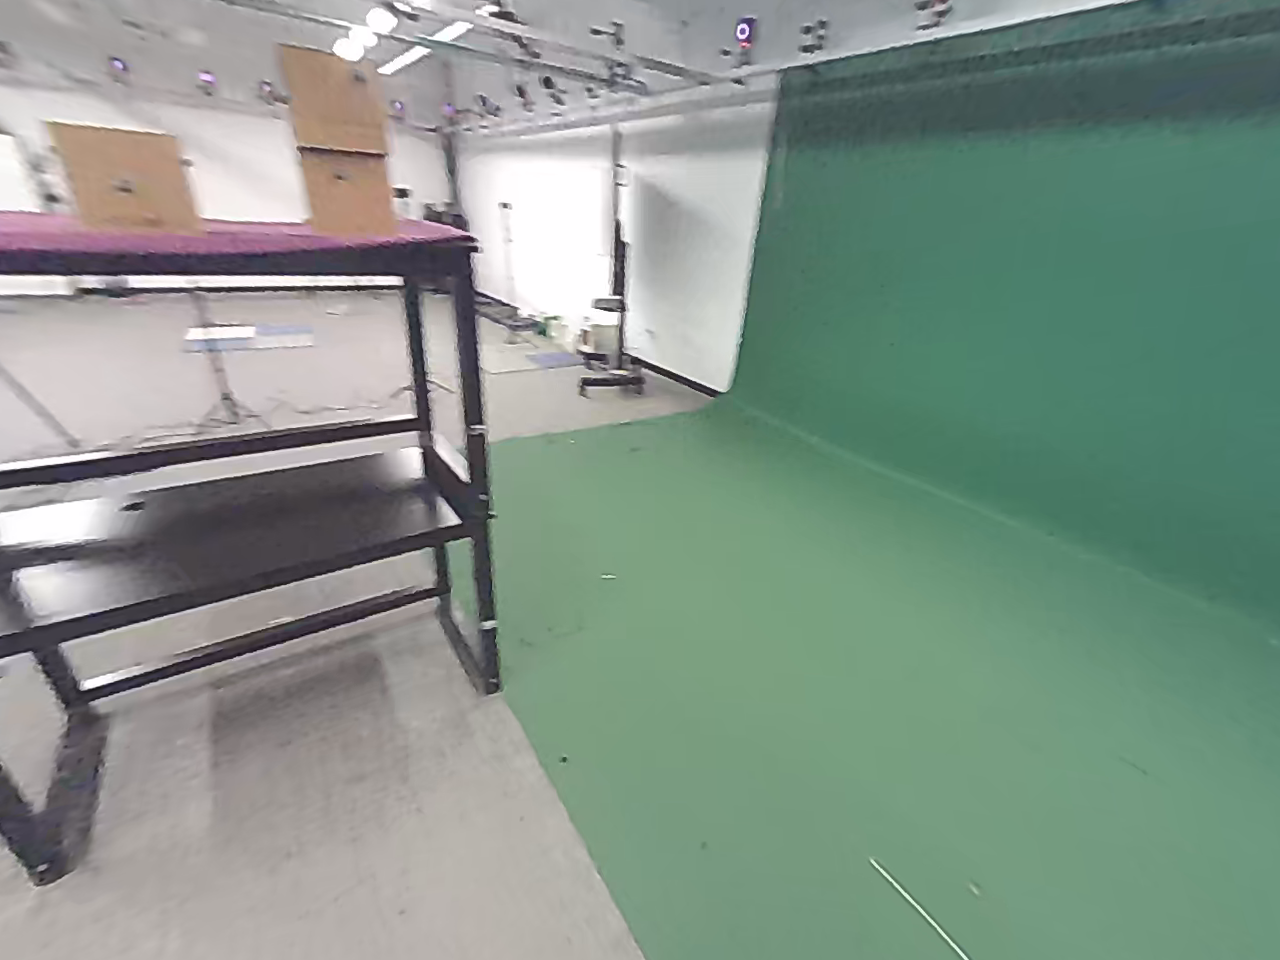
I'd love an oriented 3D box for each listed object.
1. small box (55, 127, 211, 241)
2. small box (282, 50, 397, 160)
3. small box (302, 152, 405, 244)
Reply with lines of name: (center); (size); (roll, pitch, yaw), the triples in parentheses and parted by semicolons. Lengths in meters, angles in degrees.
small box: (-0.928, -0.546, 1.011); (0.168, 0.176, 0.179); (-11, 30, -30)
small box: (-0.631, -0.770, 1.140); (0.179, 0.176, 0.168); (-13, 29, -30)
small box: (-0.645, -0.629, 1.222); (0.179, 0.176, 0.168); (-11, 28, -27)
